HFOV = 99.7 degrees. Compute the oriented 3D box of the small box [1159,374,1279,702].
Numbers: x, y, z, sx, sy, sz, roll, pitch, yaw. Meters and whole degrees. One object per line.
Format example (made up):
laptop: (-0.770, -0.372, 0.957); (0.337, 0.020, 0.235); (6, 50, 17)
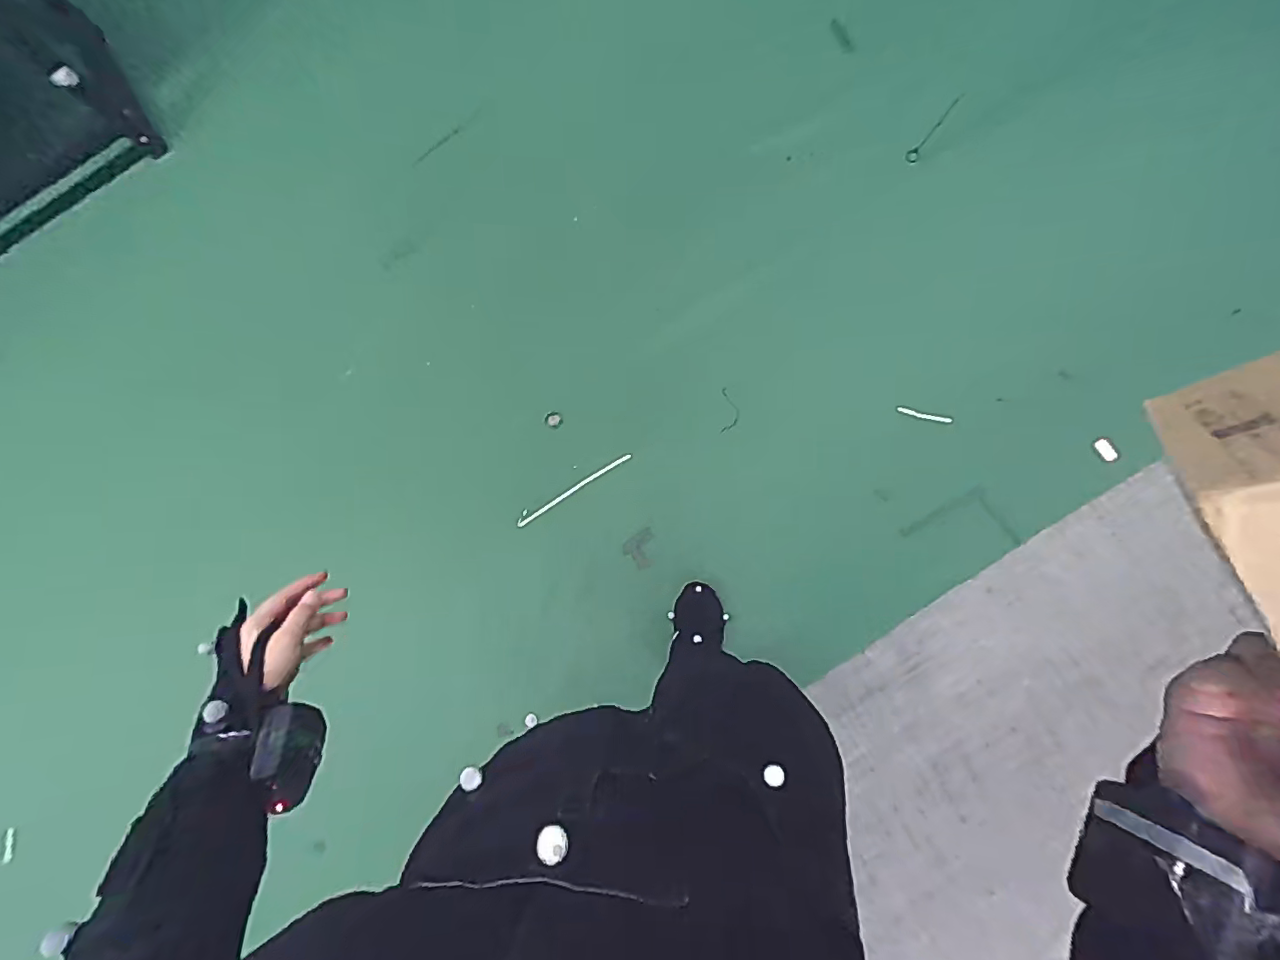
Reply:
small box: (0.286, 0.034, 0.147); (0.176, 0.168, 0.179); (-33, 84, 42)
